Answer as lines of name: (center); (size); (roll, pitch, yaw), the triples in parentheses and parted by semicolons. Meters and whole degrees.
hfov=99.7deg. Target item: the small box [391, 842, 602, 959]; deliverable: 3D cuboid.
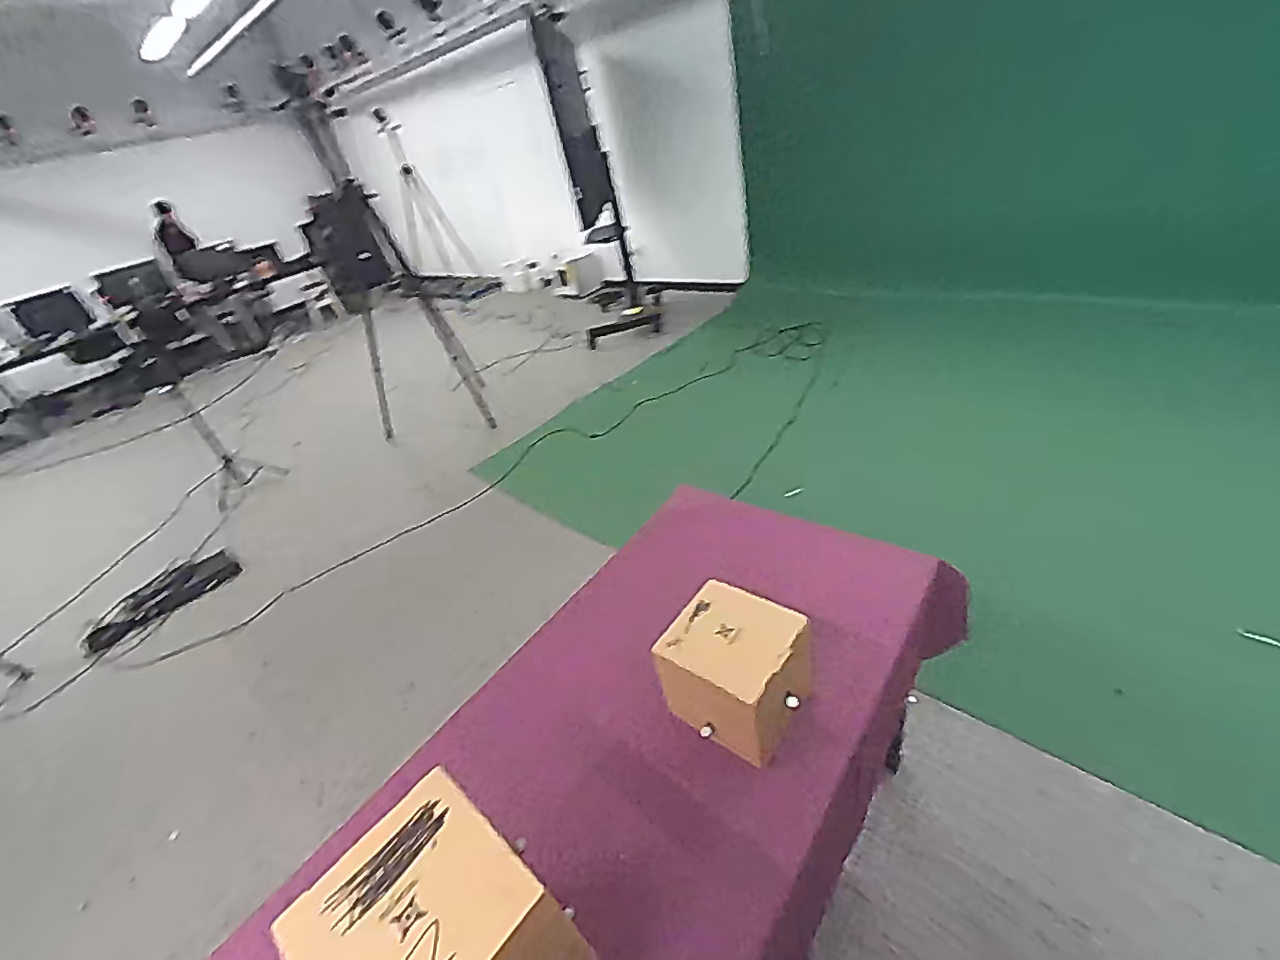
small box: (-0.140, 0.549, 0.578); (0.179, 0.176, 0.168); (19, 46, 38)

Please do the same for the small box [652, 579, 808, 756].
small box: (0.147, 0.292, 0.841); (0.179, 0.176, 0.168); (18, 45, 37)
